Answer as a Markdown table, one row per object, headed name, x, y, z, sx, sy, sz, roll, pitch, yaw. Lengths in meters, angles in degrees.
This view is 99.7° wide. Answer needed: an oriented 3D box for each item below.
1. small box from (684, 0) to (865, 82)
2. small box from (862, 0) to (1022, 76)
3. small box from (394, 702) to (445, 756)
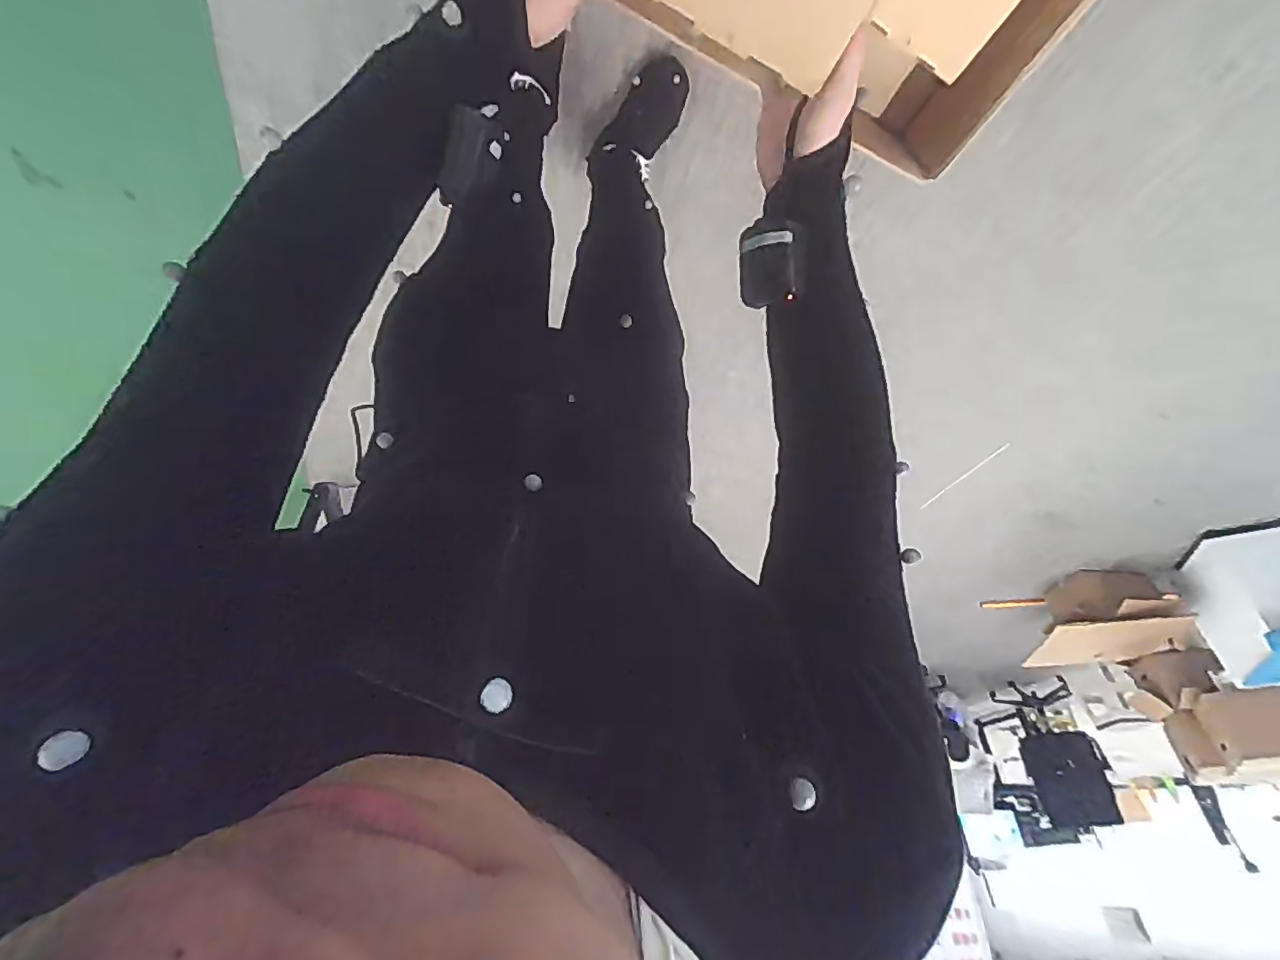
| name | x | y | z | sx | sy | sz | roll | pitch | yaw |
| --- | --- | --- | --- | --- | --- | --- | --- | --- | --- |
| small box | 0.088 | -0.422 | 0.359 | 0.168 | 0.176 | 0.179 | 15 | 137 | -20 |
| small box | 0.326 | -0.590 | 0.570 | 0.168 | 0.176 | 0.179 | 15 | 142 | -21 |
| small box | -0.908 | 1.028 | 2.228 | 0.168 | 0.176 | 0.179 | 10 | 141 | -15 |
